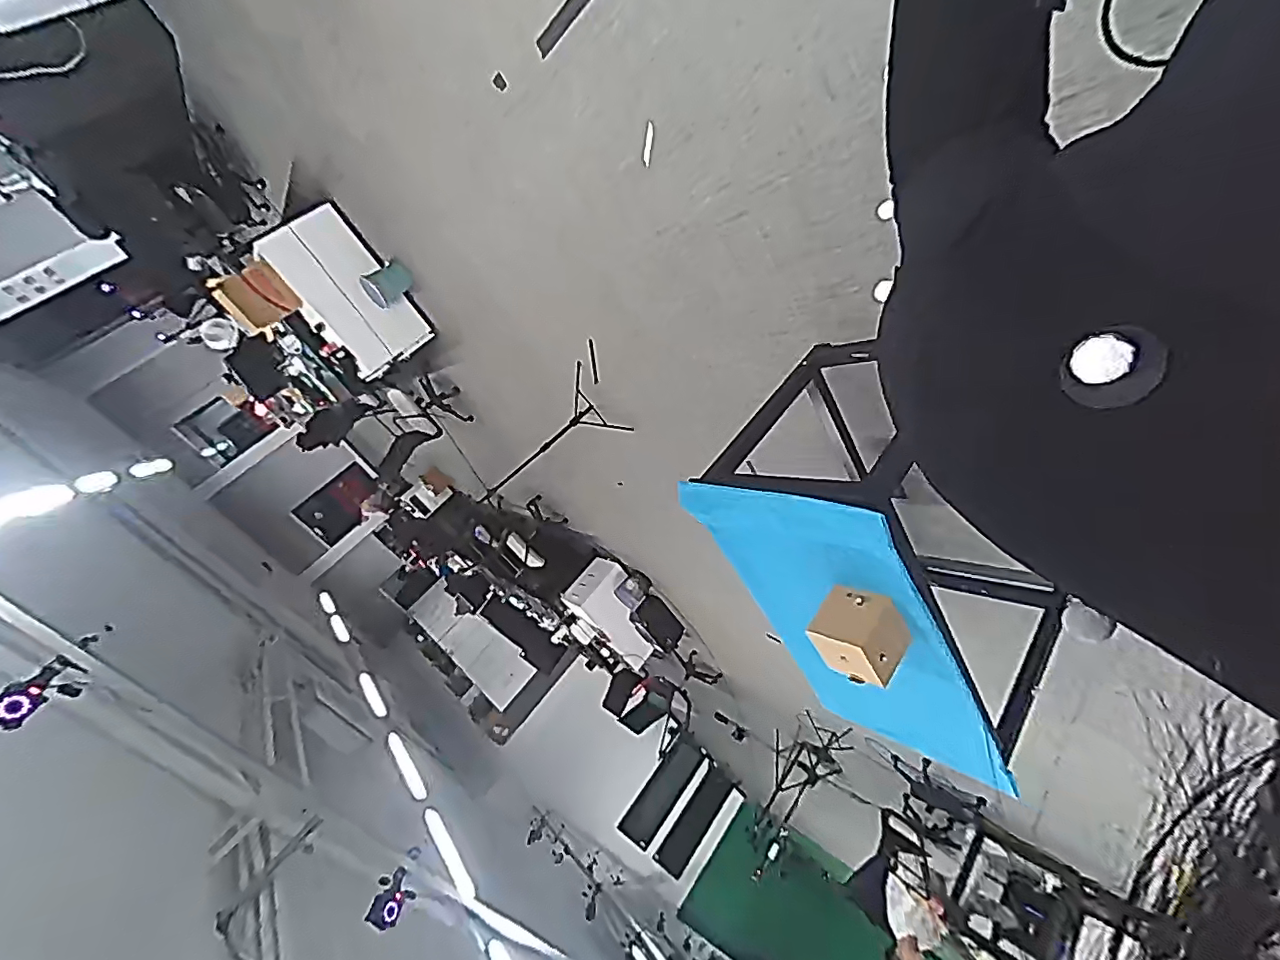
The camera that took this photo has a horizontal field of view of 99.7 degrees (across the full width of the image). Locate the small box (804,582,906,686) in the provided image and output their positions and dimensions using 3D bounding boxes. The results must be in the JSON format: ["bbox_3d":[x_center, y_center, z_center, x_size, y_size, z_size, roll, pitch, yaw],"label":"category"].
[{"bbox_3d":[0.573,0.400,1.429,0.168,0.176,0.179,5,136,54],"label":"small box"}]
